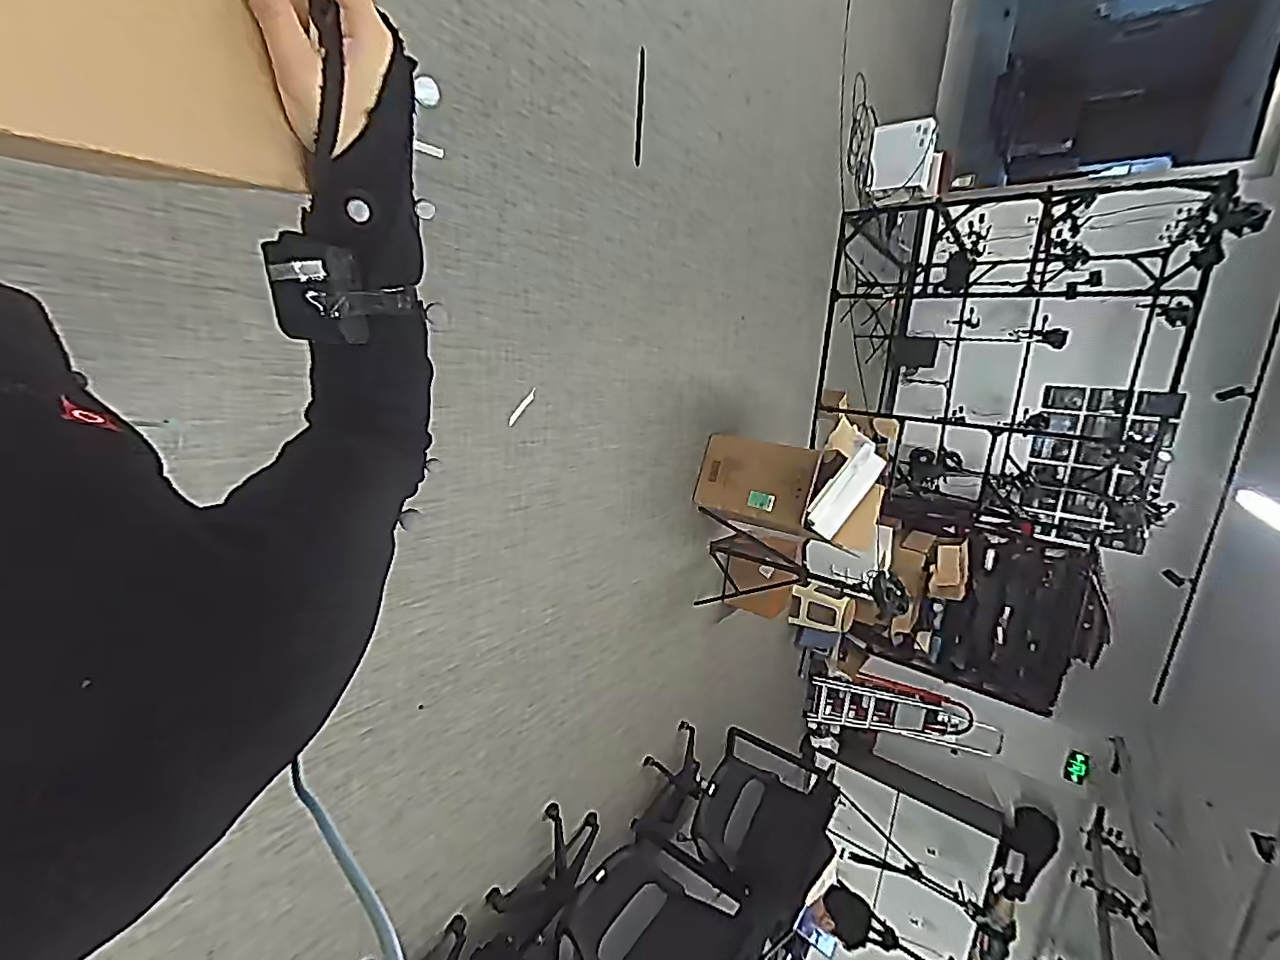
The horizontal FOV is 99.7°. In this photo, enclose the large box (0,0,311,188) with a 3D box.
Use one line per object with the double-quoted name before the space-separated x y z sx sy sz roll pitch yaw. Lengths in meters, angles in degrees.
"large box" -0.416 -0.320 0.196 0.408 0.320 0.320 -21 126 -53
